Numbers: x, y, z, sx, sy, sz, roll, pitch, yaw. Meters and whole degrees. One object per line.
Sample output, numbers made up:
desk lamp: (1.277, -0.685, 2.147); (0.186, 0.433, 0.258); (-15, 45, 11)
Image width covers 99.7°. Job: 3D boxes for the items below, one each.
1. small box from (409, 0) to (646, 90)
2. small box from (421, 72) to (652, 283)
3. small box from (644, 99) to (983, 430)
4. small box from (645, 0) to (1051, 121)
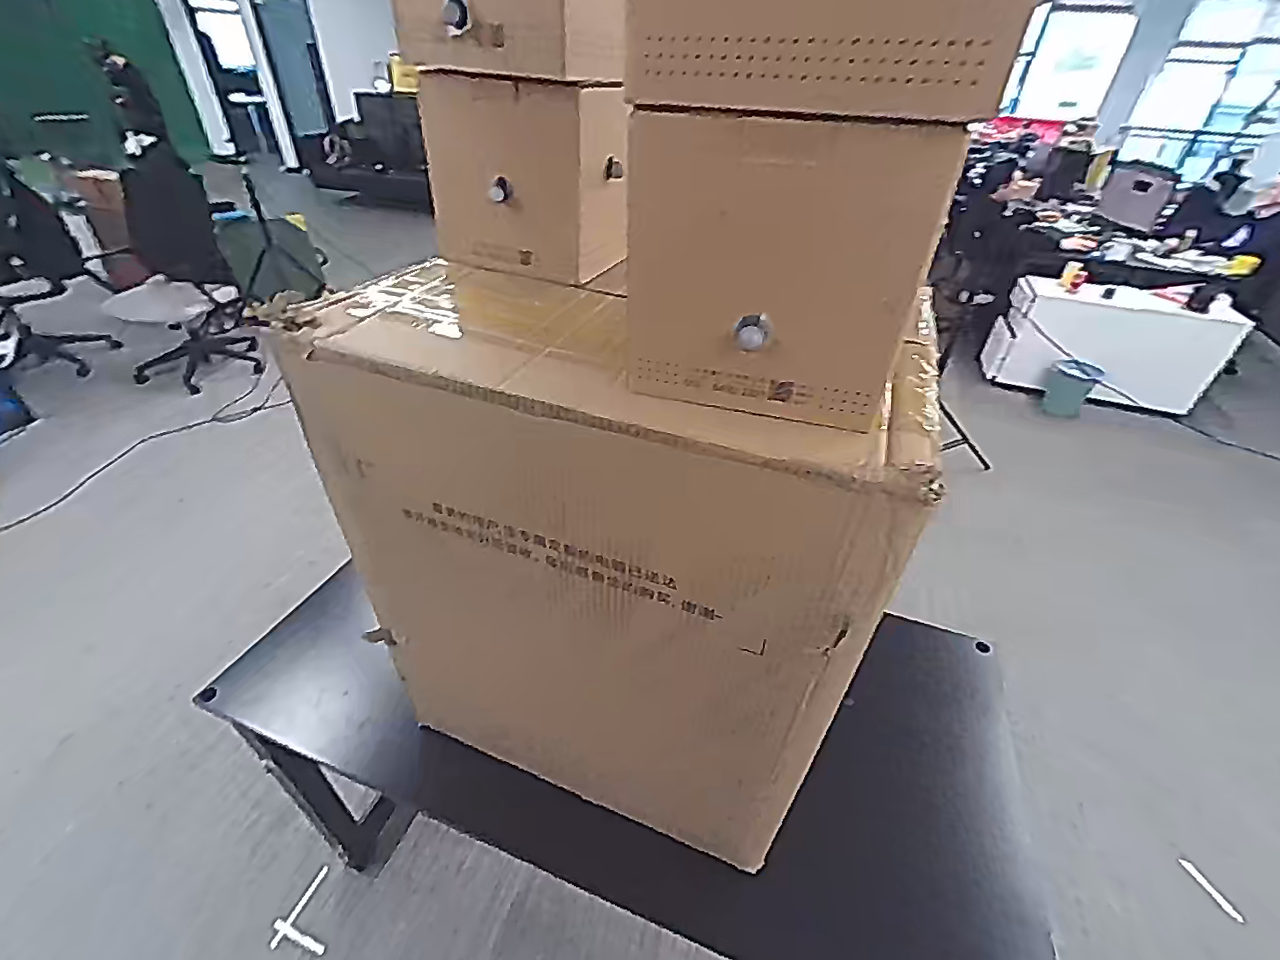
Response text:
small box: (-0.087, -0.442, 0.459); (0.168, 0.176, 0.179); (16, 40, 16)
small box: (-0.094, -0.322, 0.571); (0.168, 0.176, 0.179); (16, 40, 14)
small box: (0.102, -0.159, 0.373); (0.168, 0.176, 0.179); (12, 39, 14)
small box: (0.108, -0.280, 0.262); (0.179, 0.176, 0.168); (15, 40, 15)
